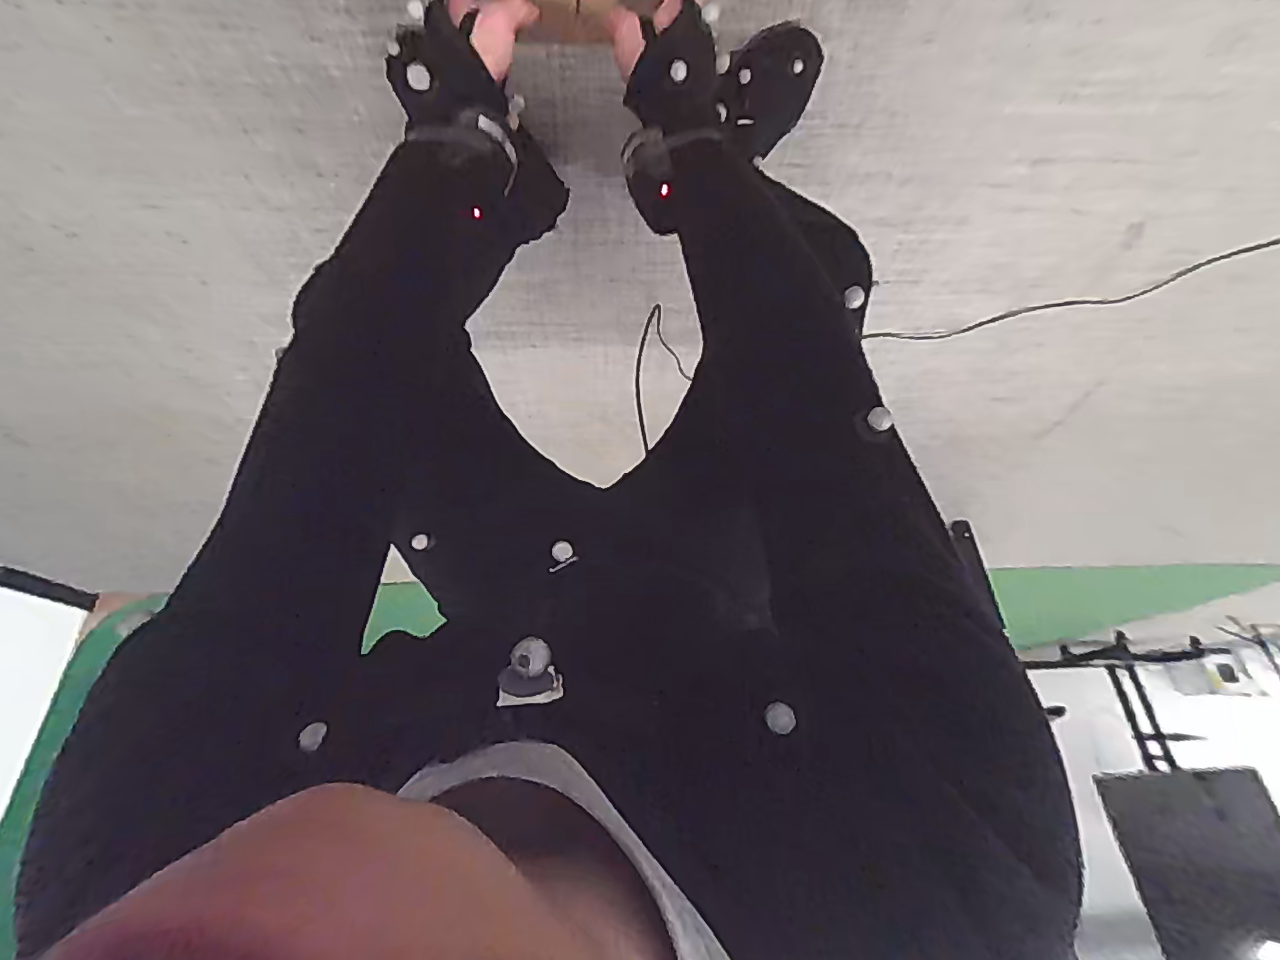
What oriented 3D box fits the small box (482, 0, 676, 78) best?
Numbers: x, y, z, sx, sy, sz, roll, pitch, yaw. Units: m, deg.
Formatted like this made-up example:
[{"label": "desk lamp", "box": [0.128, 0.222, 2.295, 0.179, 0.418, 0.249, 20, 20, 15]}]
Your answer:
[{"label": "small box", "box": [-0.053, -0.487, 0.474, 0.168, 0.176, 0.179, 0, 142, -4]}]
